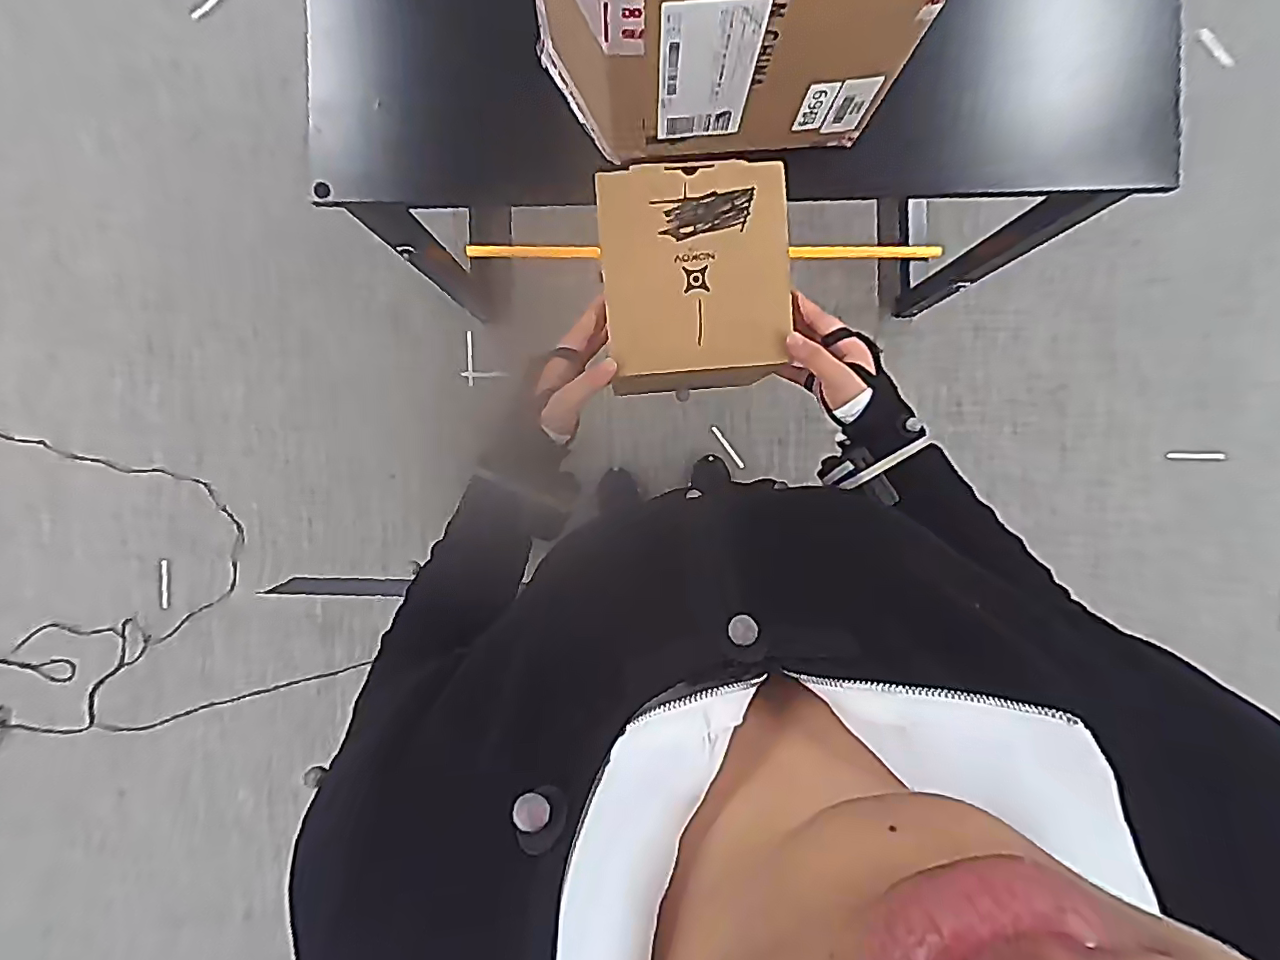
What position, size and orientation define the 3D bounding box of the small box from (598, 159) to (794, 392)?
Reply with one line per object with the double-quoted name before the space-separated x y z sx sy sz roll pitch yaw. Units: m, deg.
"small box" 0.046 -0.192 0.552 0.168 0.176 0.179 -5 93 -1
